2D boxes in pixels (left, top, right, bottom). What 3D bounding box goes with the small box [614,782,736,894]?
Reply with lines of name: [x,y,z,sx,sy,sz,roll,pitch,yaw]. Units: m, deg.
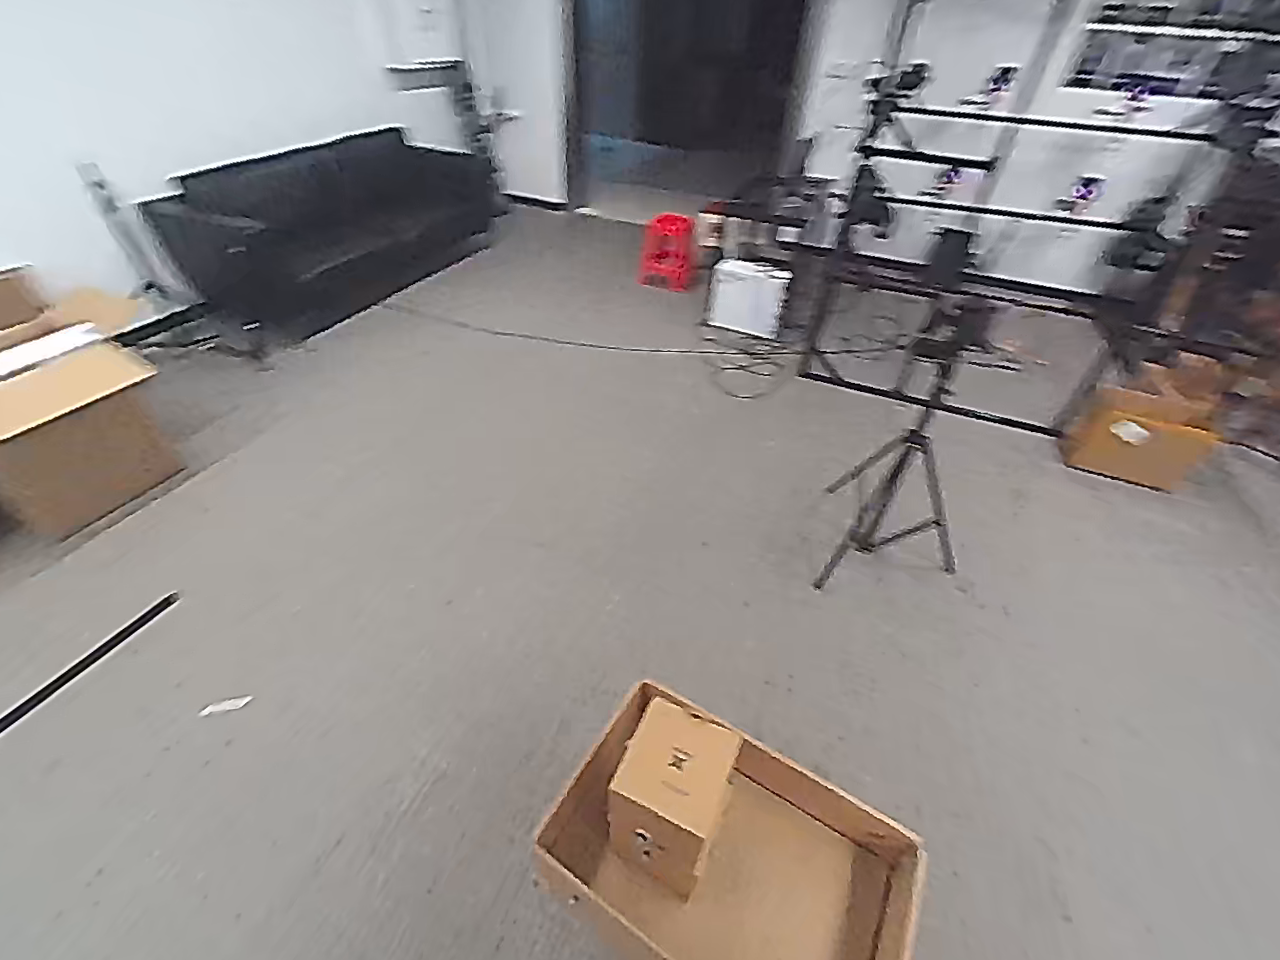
small box: [0.061,0.649,1.038,0.179,0.176,0.168,23,44,19]

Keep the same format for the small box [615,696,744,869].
small box: [0.063,0.521,0.936,0.168,0.176,0.179,19,42,18]
